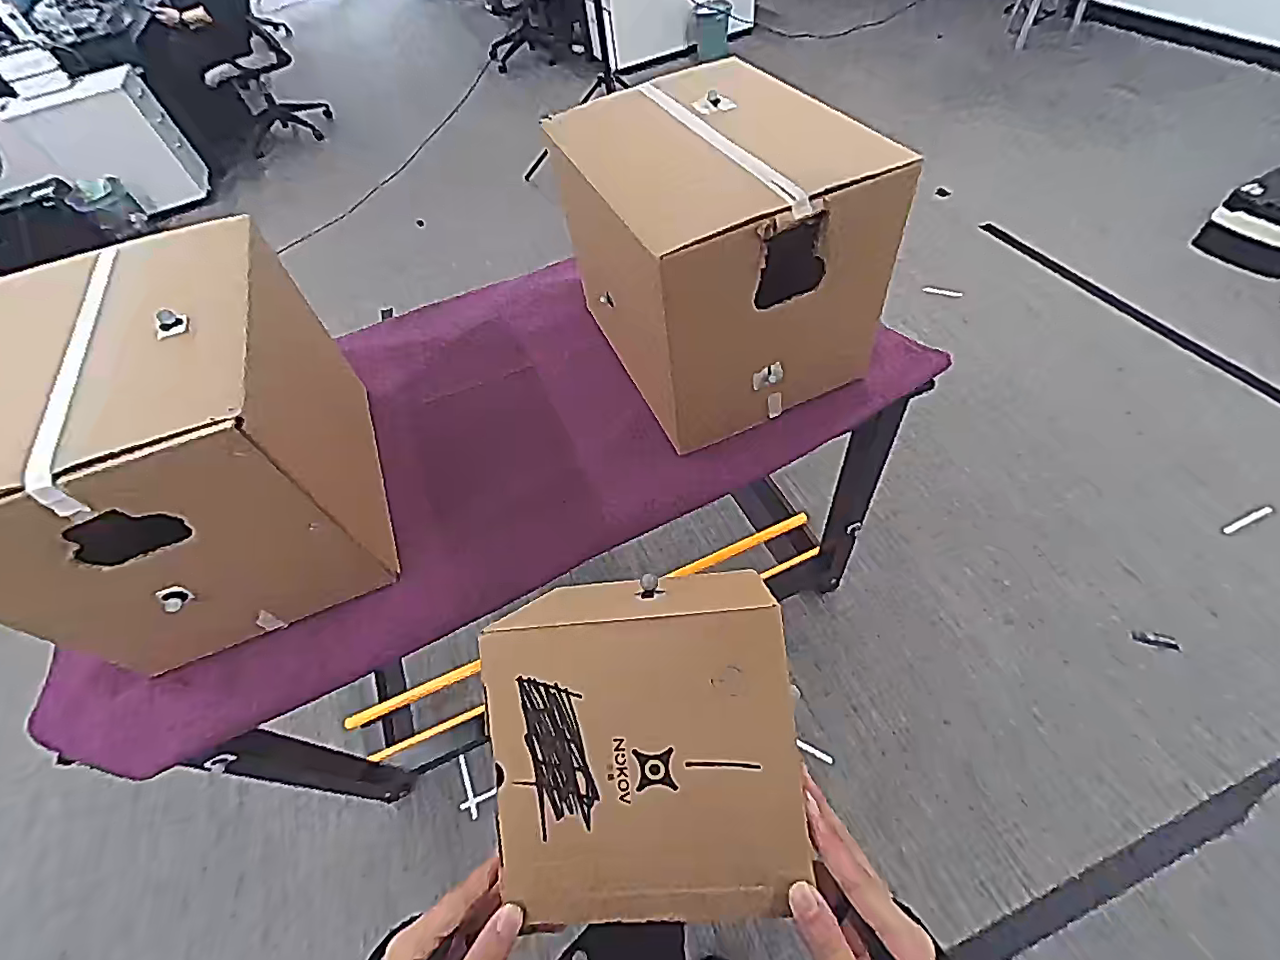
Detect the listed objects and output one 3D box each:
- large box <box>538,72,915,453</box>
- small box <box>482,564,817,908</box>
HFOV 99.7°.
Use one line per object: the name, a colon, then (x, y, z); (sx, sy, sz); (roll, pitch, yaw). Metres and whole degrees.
large box: (0.096, -0.316, 0.777); (0.320, 0.320, 0.408); (-23, 53, -9)
small box: (0.010, 0.154, 0.378); (0.179, 0.176, 0.168); (-7, 87, 6)
